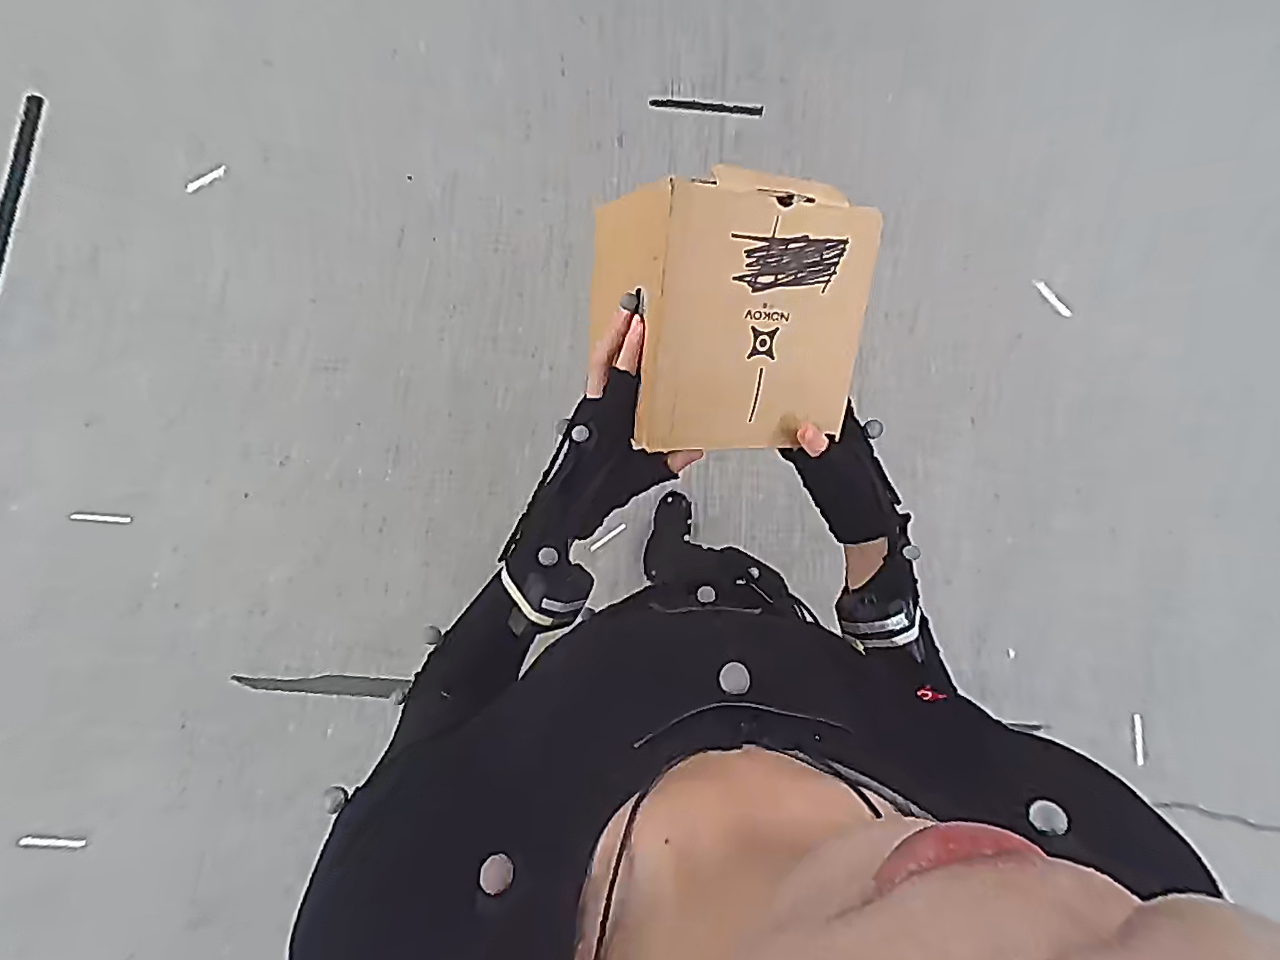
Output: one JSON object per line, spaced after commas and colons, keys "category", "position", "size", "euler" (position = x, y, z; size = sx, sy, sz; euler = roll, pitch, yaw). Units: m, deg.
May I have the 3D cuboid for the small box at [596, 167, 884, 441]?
{"category": "small box", "position": [0.064, -0.137, 0.452], "size": [0.168, 0.176, 0.179], "euler": [-2, 110, -19]}
